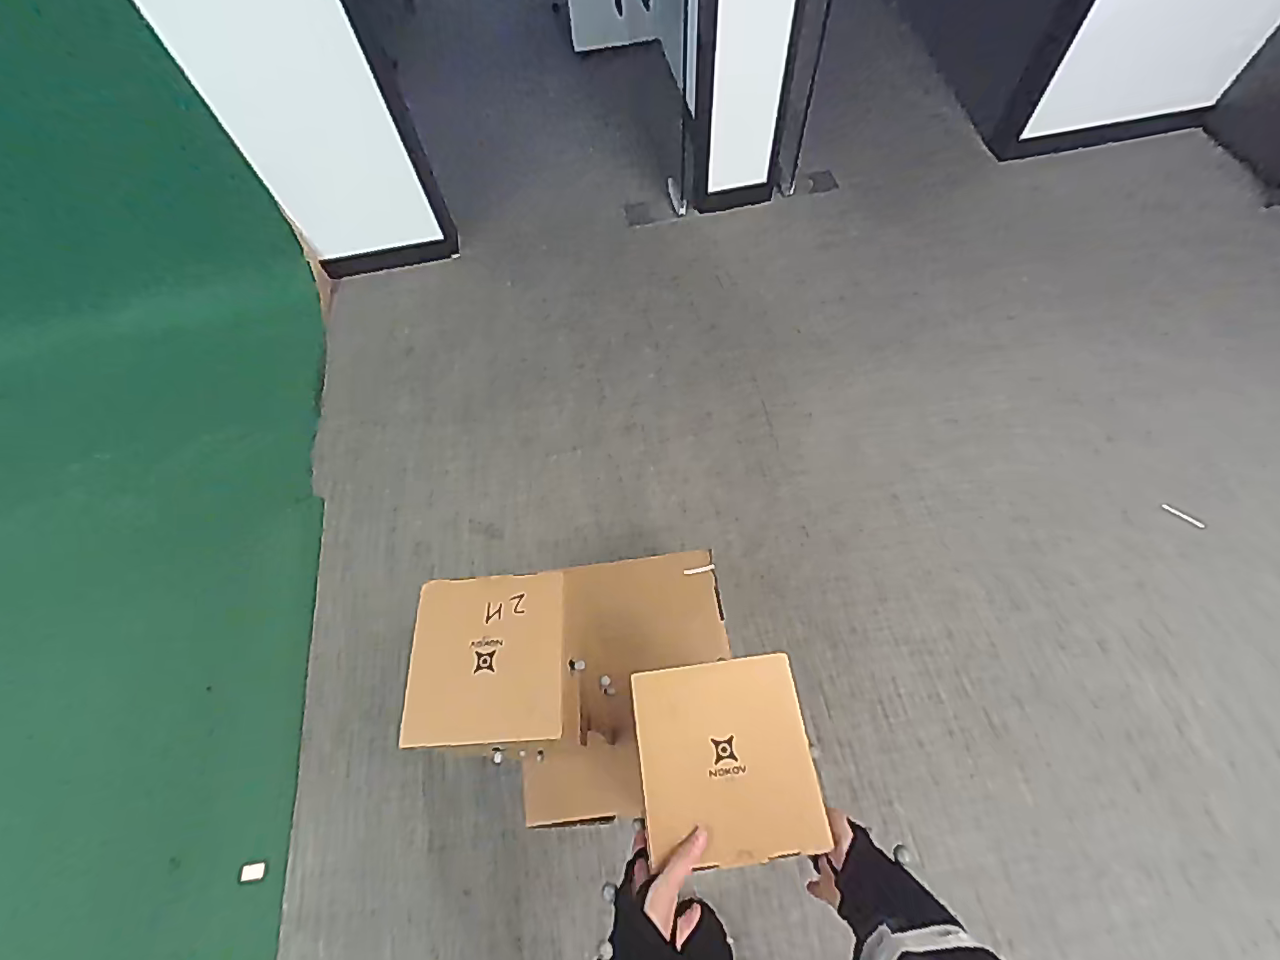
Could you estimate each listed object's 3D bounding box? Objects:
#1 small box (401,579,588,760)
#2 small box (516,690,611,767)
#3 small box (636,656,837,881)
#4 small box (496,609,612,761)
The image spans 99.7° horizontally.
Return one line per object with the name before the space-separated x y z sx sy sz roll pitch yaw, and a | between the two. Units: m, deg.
small box | -0.154 0.230 0.639 0.168 0.176 0.179 -4 61 2
small box | -0.145 0.383 0.932 0.168 0.176 0.179 -9 60 -1
small box | 0.087 0.305 0.585 0.168 0.176 0.179 -8 62 -2
small box | -0.147 0.303 0.785 0.179 0.176 0.168 -11 61 1
